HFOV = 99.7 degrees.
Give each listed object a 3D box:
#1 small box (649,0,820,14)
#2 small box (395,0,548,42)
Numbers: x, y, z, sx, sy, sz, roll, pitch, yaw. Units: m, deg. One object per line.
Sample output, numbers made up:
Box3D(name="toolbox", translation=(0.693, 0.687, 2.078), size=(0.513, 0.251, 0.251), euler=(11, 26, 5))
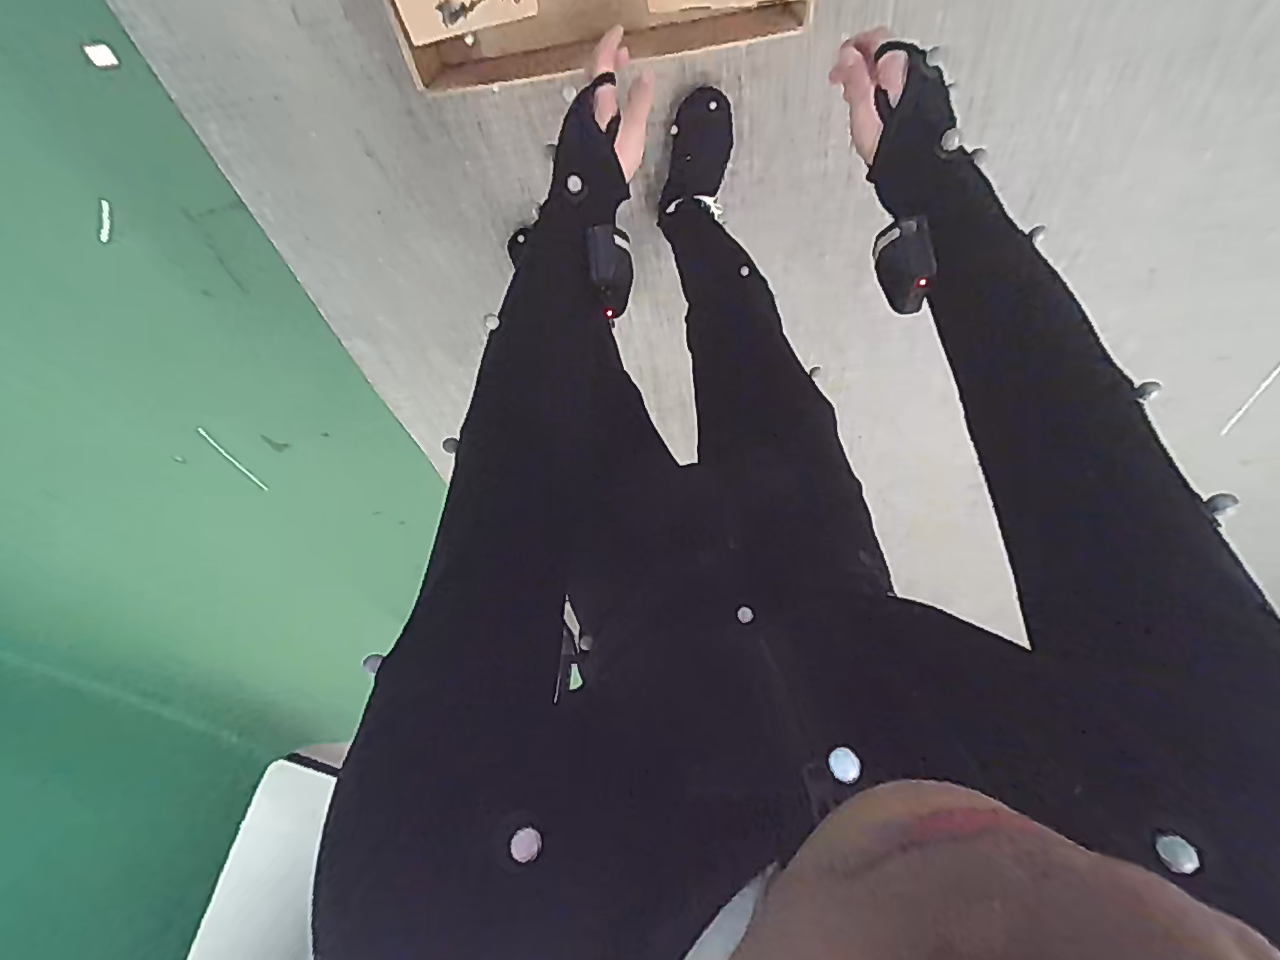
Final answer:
Box3D(name="small box", translation=(0.084, -0.561, 0.492), size=(0.168, 0.176, 0.179), euler=(-2, 142, 3))
Box3D(name="small box", translation=(-0.211, -0.656, 0.635), size=(0.168, 0.176, 0.179), euler=(-5, 139, 9))
